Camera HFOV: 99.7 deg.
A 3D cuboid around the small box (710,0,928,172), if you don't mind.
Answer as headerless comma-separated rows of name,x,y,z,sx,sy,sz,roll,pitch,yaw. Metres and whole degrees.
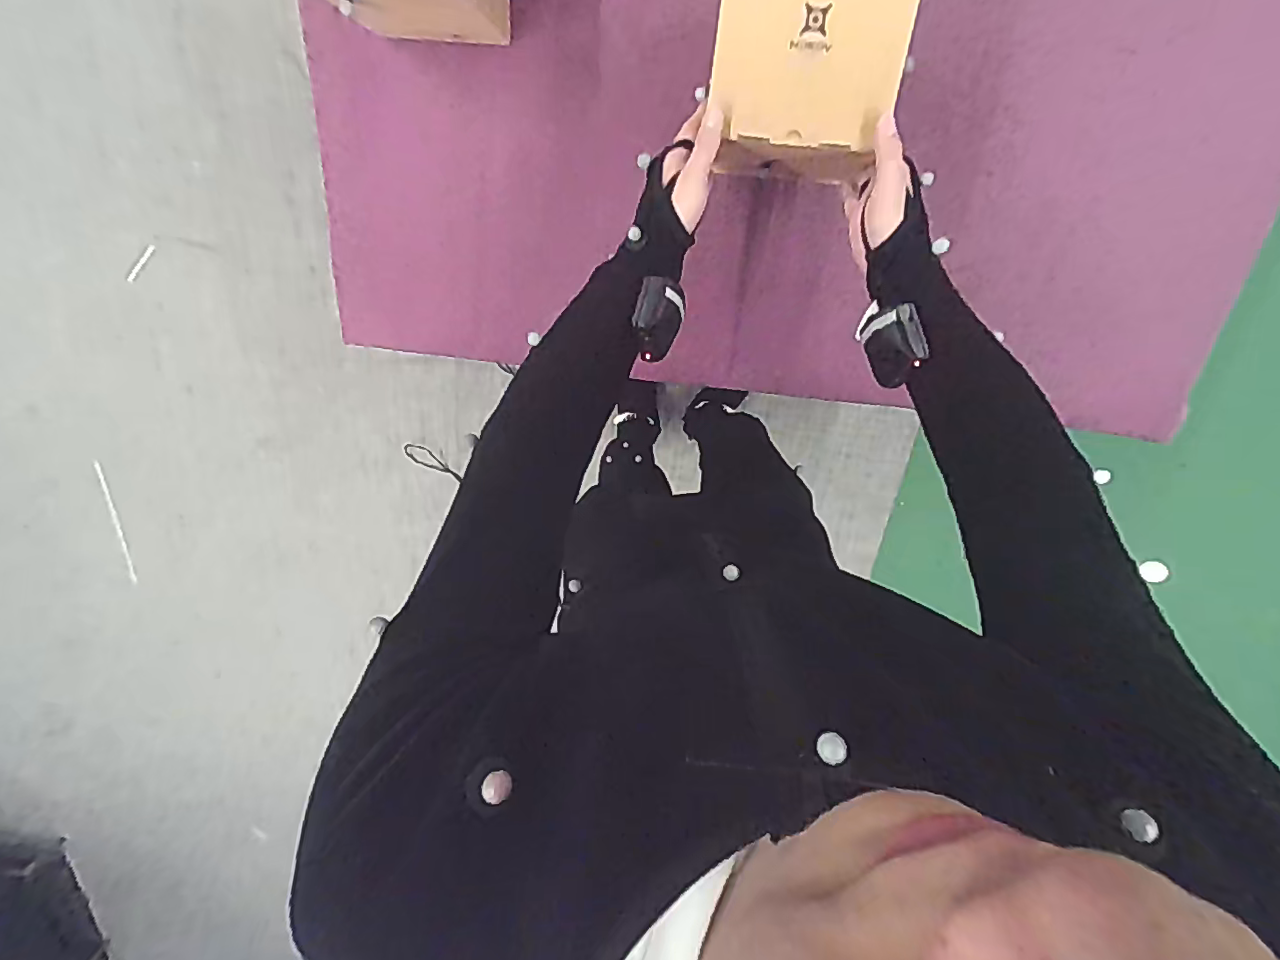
small box,0.161,-0.419,0.525,0.168,0.176,0.179,8,112,3
